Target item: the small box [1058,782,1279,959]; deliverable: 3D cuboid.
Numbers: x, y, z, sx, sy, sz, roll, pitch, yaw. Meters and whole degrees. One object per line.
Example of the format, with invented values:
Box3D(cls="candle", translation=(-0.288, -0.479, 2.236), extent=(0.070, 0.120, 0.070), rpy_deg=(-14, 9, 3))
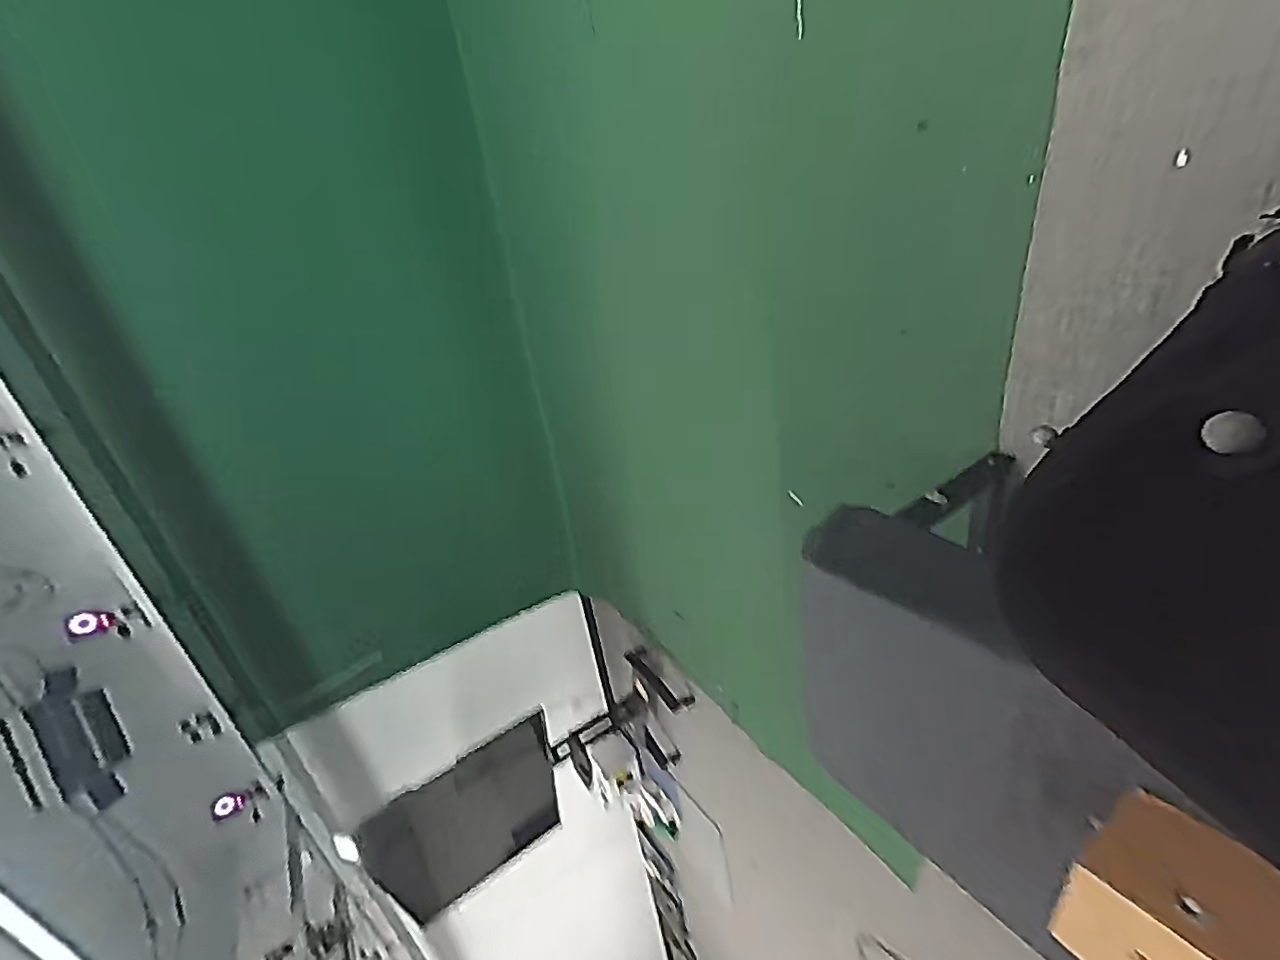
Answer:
Box3D(cls="small box", translation=(0.667, 0.524, 0.665), extent=(0.179, 0.176, 0.168), rpy_deg=(28, 134, 52))
